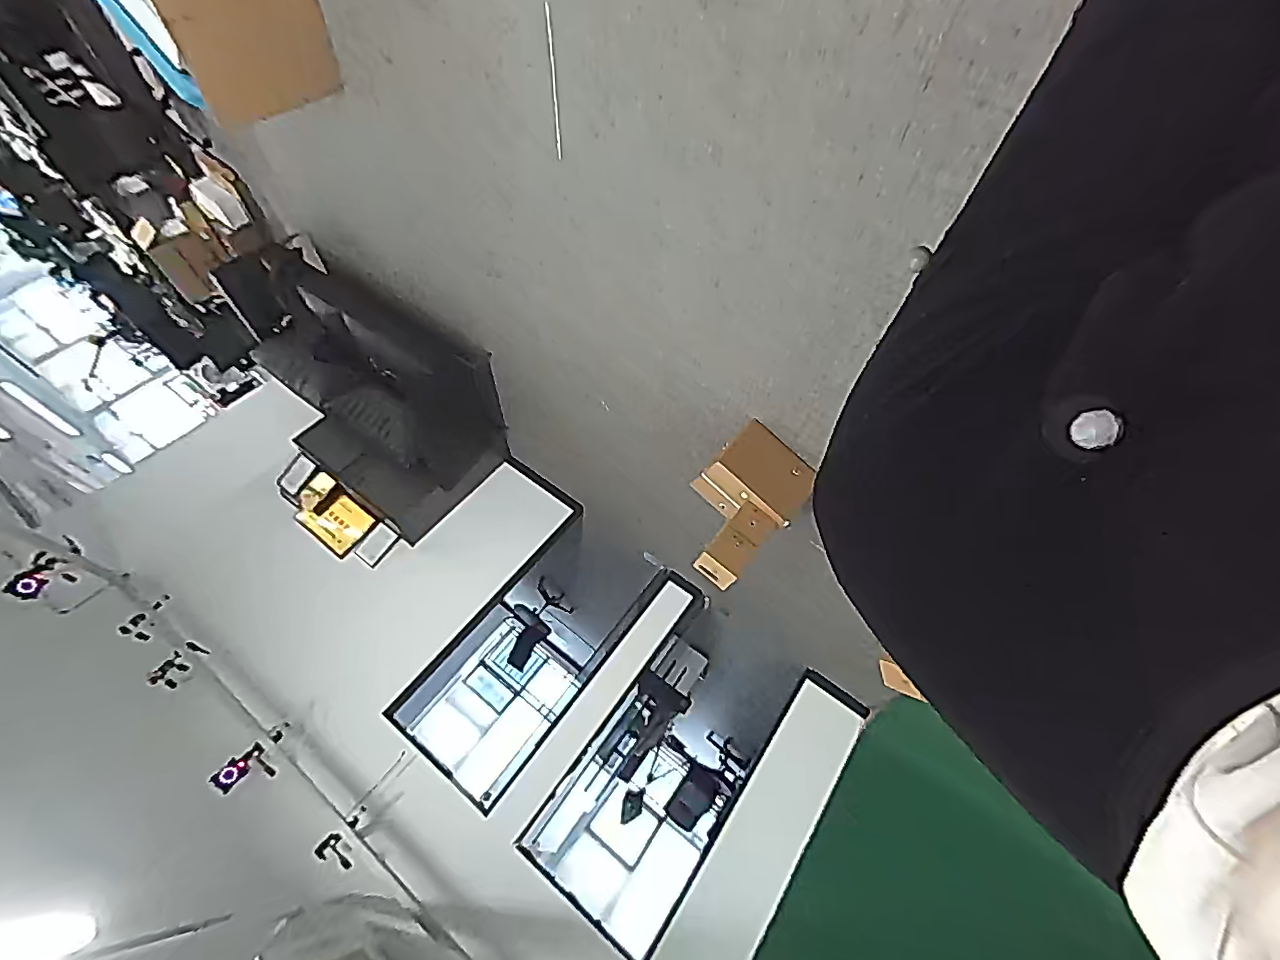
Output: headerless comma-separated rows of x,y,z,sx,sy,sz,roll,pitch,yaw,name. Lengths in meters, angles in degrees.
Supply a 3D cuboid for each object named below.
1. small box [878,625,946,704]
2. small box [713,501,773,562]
0.965,0.647,1.908,0.168,0.176,0.179,13,140,43,small box
0.449,0.220,2.336,0.168,0.176,0.179,39,152,8,small box
